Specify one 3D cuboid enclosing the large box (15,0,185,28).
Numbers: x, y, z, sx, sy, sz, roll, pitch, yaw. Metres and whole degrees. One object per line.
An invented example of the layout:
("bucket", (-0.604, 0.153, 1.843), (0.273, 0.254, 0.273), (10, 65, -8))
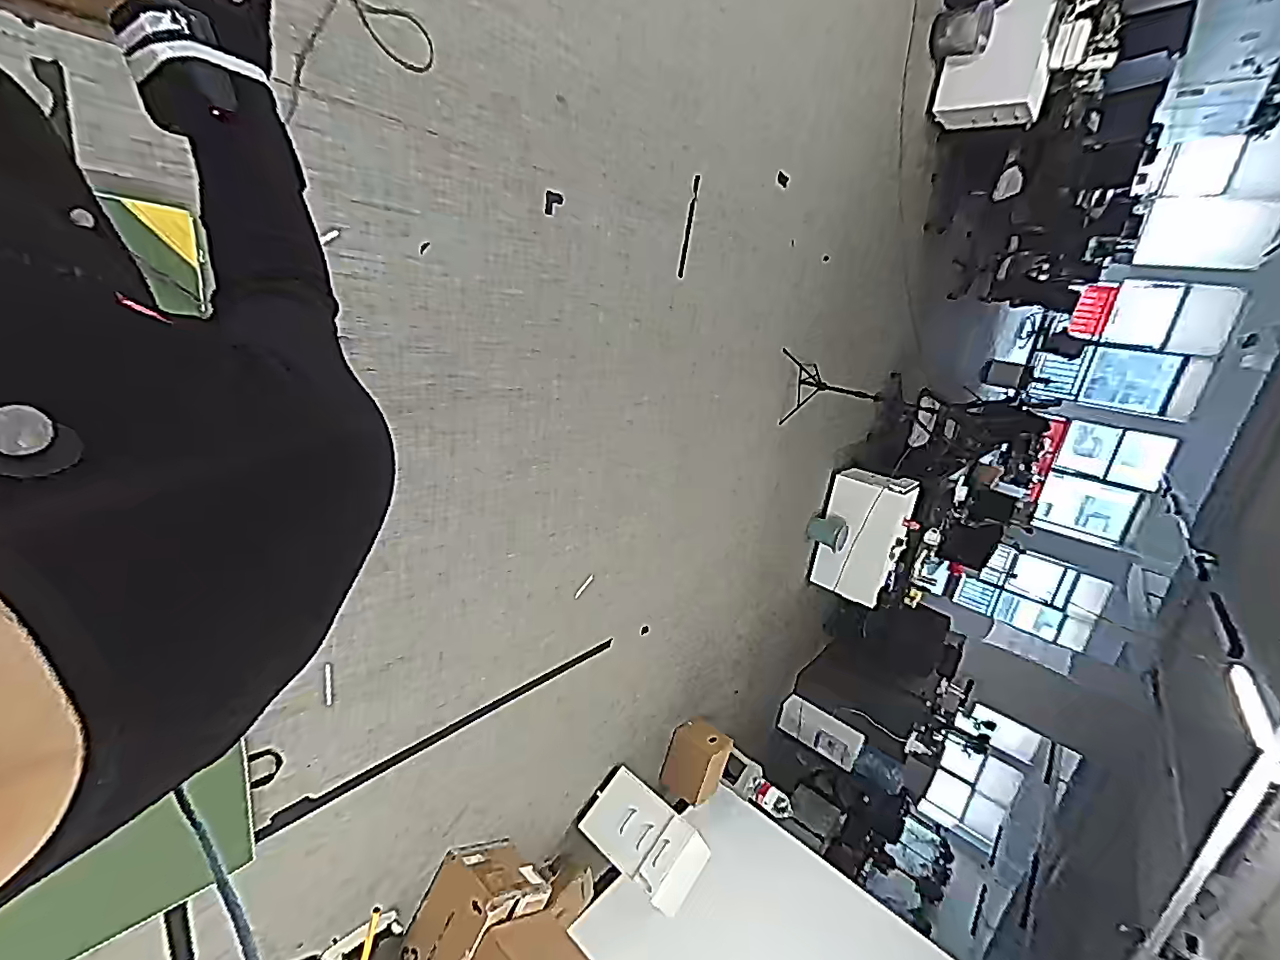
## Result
("large box", (-0.553, -0.511, 0.288), (0.408, 0.320, 0.320), (-14, 128, -47))
